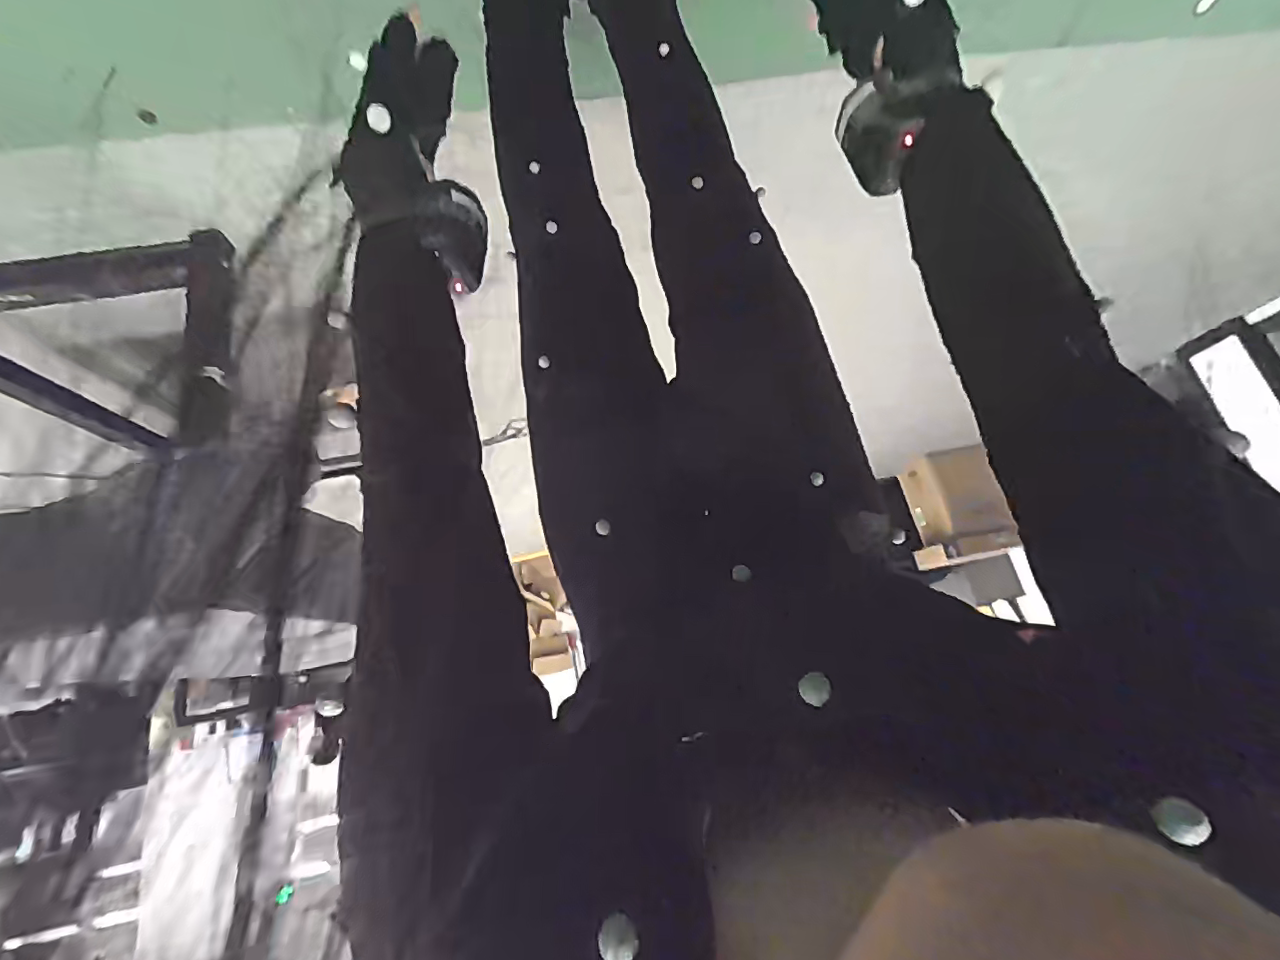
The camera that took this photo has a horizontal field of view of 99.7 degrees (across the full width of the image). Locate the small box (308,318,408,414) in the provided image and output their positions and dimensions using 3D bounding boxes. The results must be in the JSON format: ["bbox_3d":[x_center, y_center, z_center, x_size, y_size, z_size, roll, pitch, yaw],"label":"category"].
[{"bbox_3d":[-0.737,-0.297,1.422,0.179,0.176,0.168,-13,164,5],"label":"small box"}]
